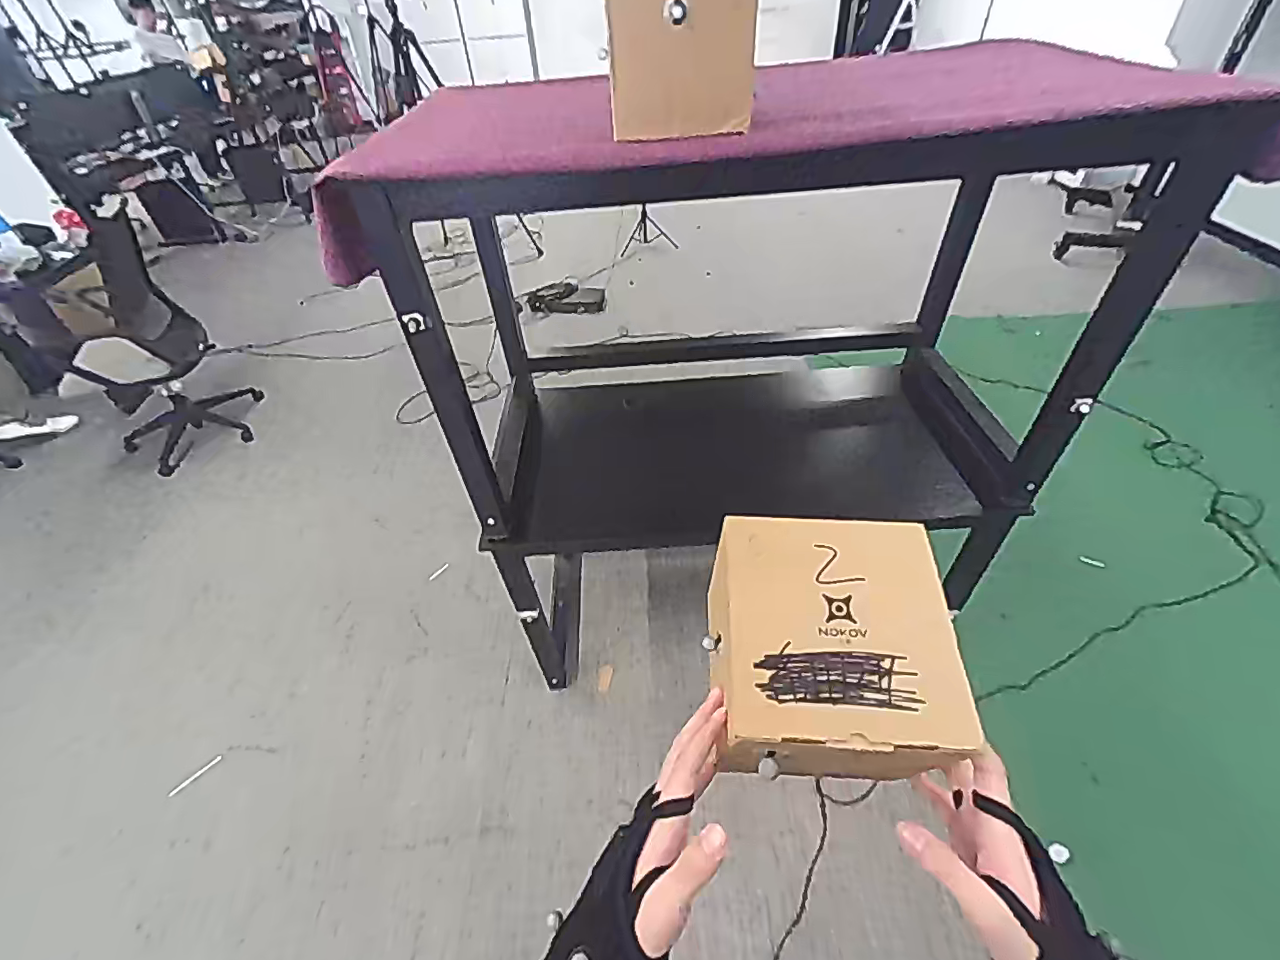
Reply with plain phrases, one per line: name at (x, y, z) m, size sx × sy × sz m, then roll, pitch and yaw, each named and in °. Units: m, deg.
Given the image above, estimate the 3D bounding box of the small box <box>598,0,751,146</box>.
small box at (0.046, -0.544, 0.694) m, size 0.179 × 0.176 × 0.168 m, roll -1°, pitch 43°, yaw 4°
